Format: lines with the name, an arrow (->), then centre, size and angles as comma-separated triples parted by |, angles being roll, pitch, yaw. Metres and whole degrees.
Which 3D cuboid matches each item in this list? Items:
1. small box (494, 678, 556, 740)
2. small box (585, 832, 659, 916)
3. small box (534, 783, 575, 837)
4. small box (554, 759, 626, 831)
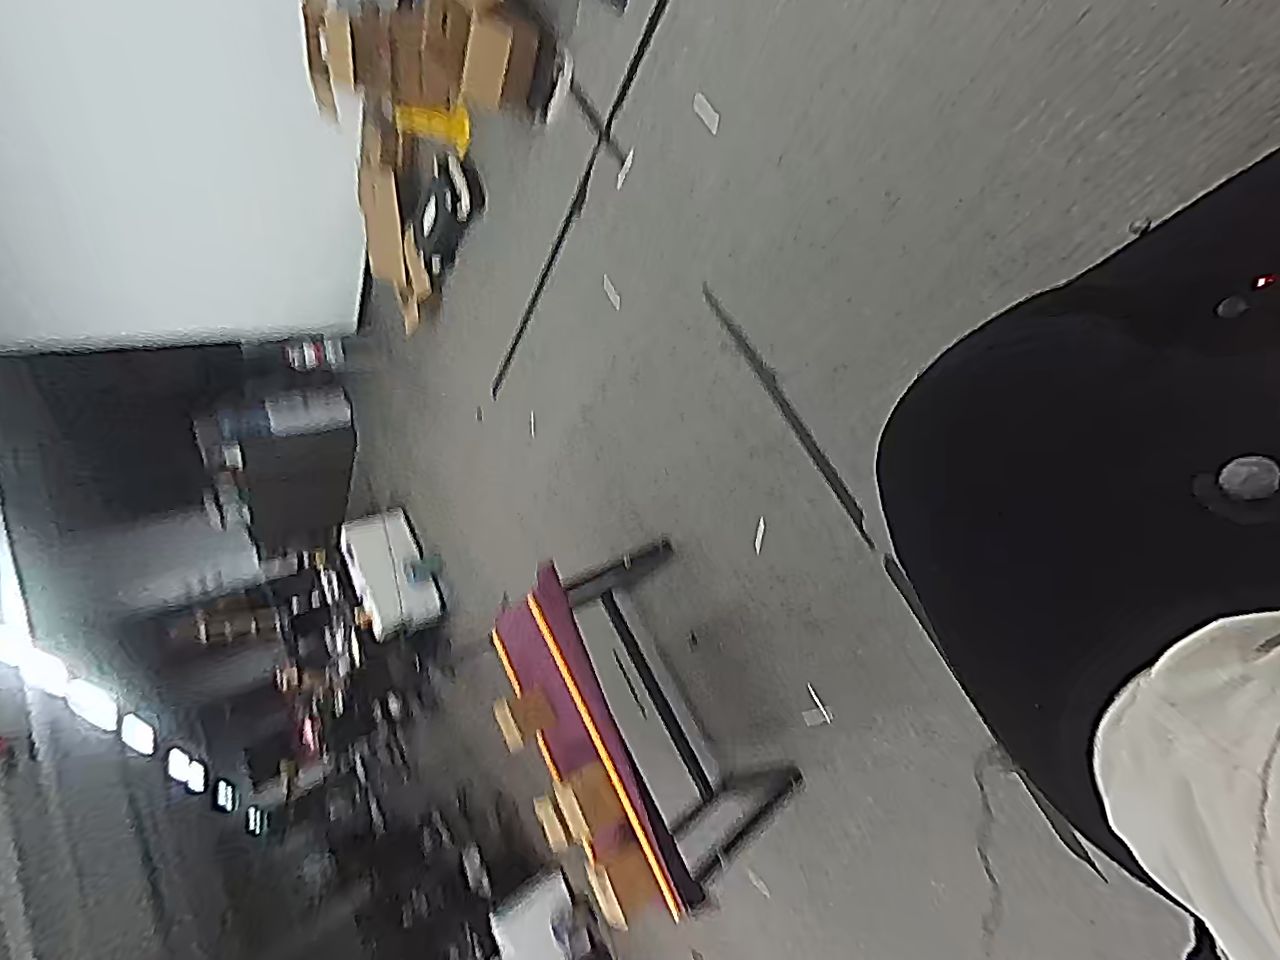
small box -> -0.479, 0.958, 2.264 | 0.168, 0.176, 0.179 | -43, 70, 46
small box -> -0.064, 1.401, 1.939 | 0.168, 0.176, 0.179 | -38, 74, 49
small box -> -0.297, 1.306, 2.181 | 0.168, 0.176, 0.179 | 59, 138, 15
small box -> -0.184, 1.150, 1.992 | 0.168, 0.176, 0.179 | -41, 73, 49
